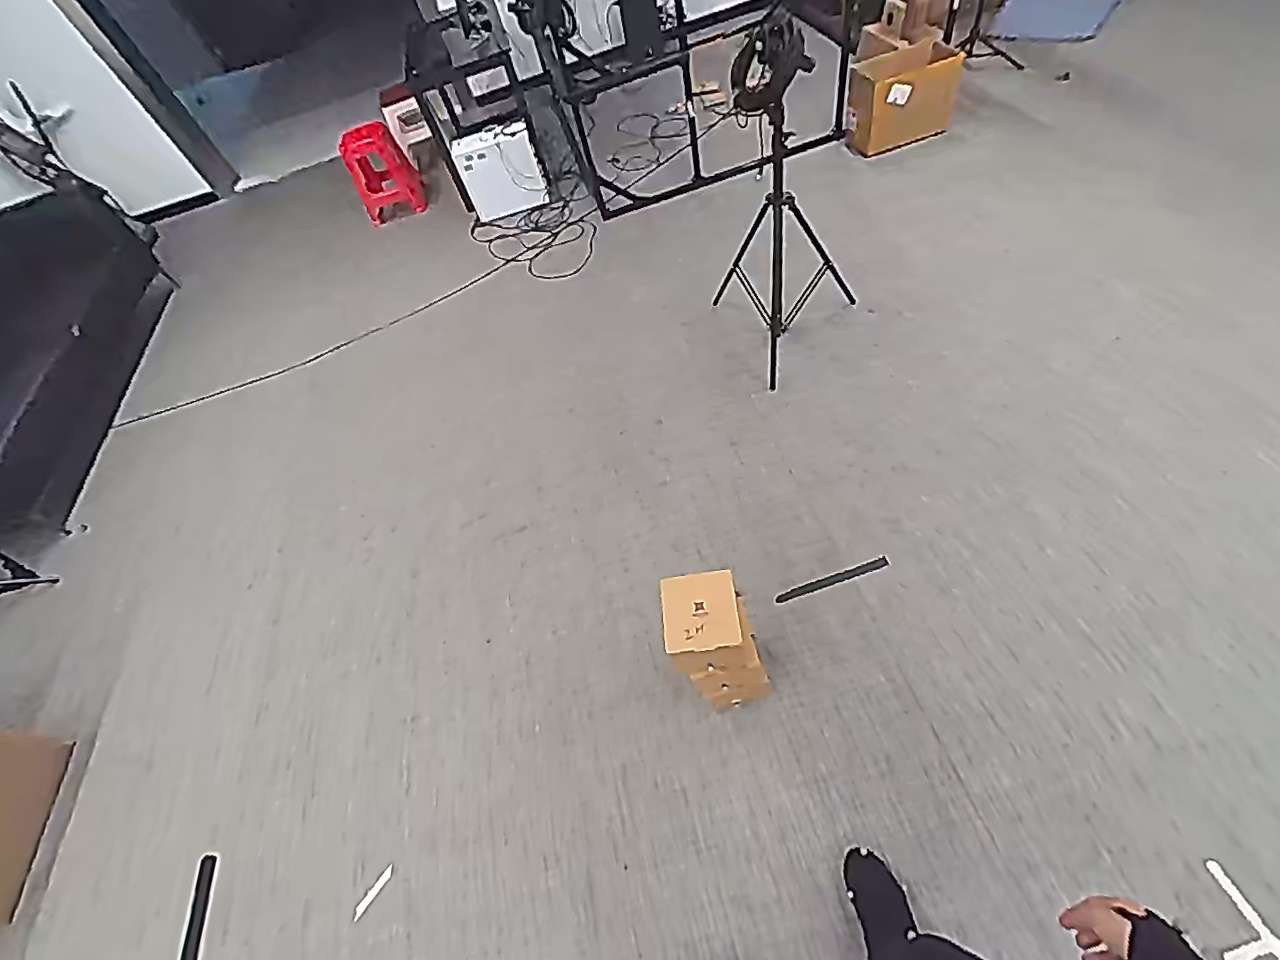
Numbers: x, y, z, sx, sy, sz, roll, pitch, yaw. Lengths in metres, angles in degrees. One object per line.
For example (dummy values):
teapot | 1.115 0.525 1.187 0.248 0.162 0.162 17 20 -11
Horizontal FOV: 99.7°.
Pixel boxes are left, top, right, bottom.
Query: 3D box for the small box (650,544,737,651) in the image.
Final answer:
small box | 0.120 0.267 1.212 0.168 0.176 0.179 -10 55 9

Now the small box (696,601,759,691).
small box | 0.218 0.449 1.466 0.168 0.176 0.179 -17 54 3

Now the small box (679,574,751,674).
small box | 0.173 0.360 1.338 0.168 0.176 0.179 -15 55 5
